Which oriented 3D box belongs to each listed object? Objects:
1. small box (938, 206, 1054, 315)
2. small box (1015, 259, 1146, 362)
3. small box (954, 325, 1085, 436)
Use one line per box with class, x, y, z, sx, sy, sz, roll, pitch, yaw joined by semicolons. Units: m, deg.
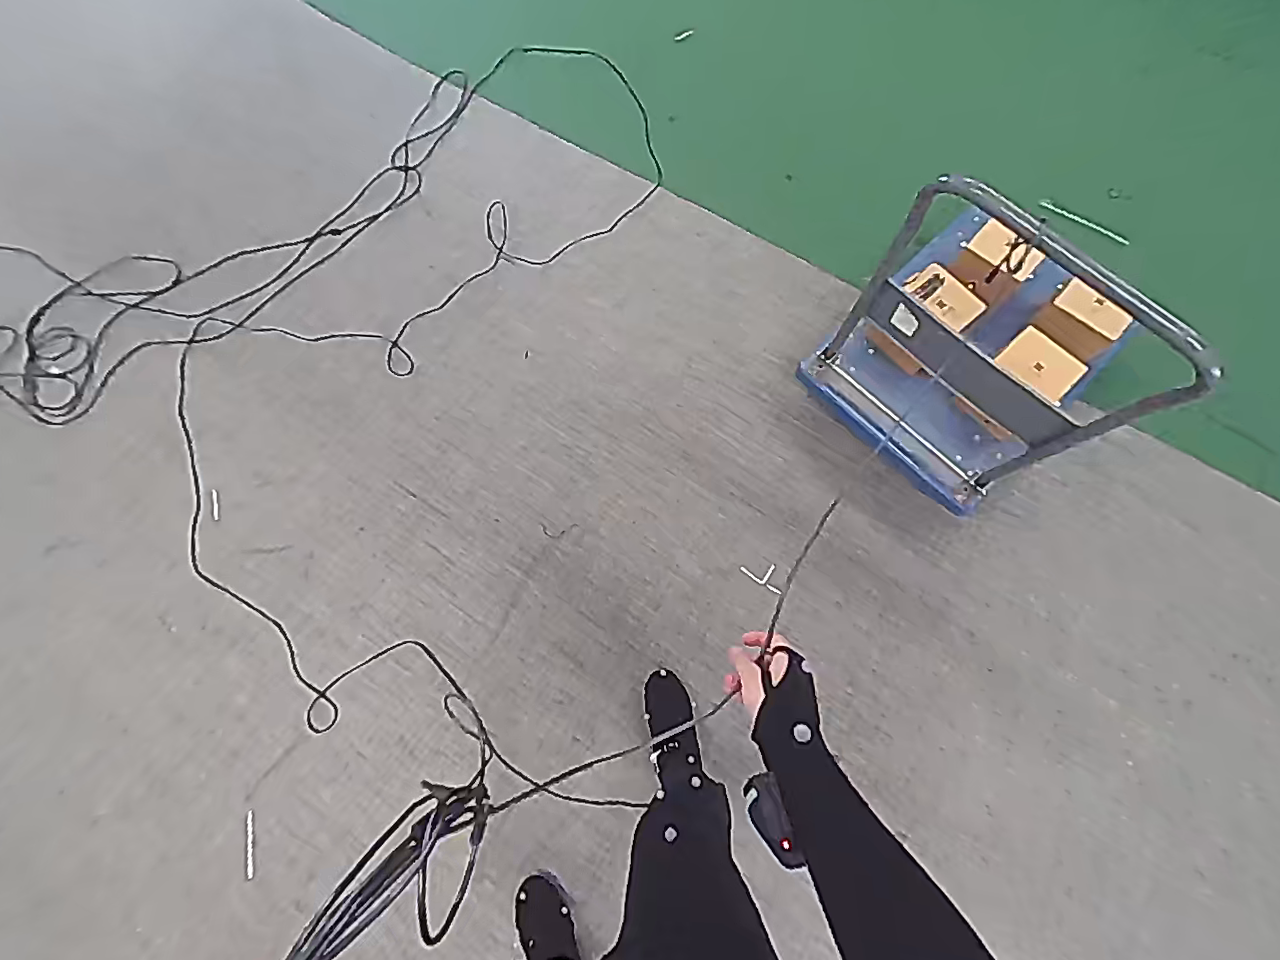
small box;0.946;-0.583;1.458;0.168;0.176;0.179;41;77;12
small box;1.131;-0.423;1.403;0.168;0.176;0.179;41;78;13
small box;0.935;-0.243;1.352;0.179;0.176;0.168;-42;76;-11
